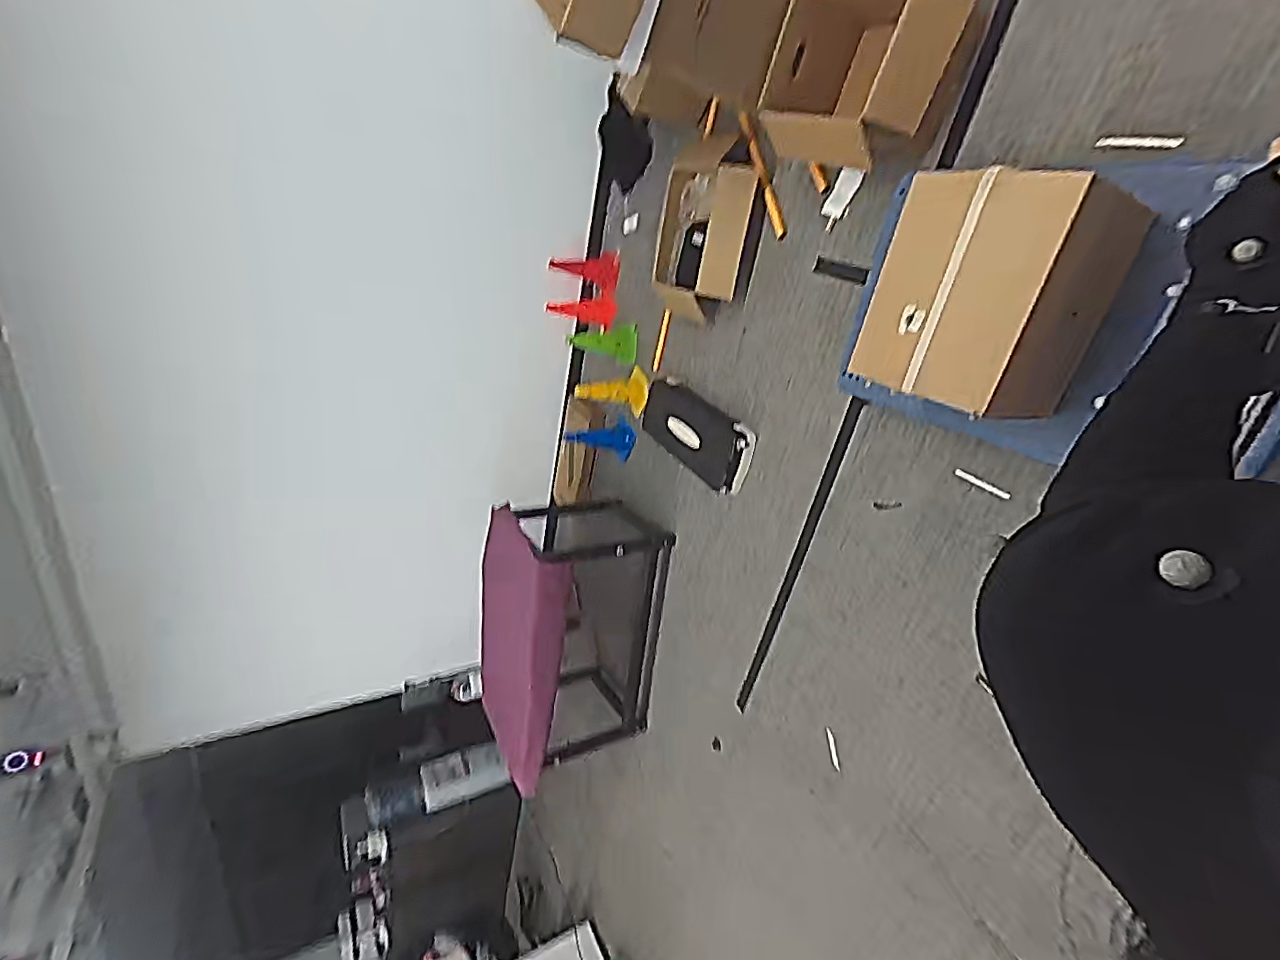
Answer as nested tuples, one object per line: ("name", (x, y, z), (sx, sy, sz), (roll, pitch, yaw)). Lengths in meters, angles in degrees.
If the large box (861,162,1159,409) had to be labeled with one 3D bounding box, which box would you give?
("large box", (0.728, -0.384, 1.100), (0.320, 0.320, 0.408), (40, 127, 50))
